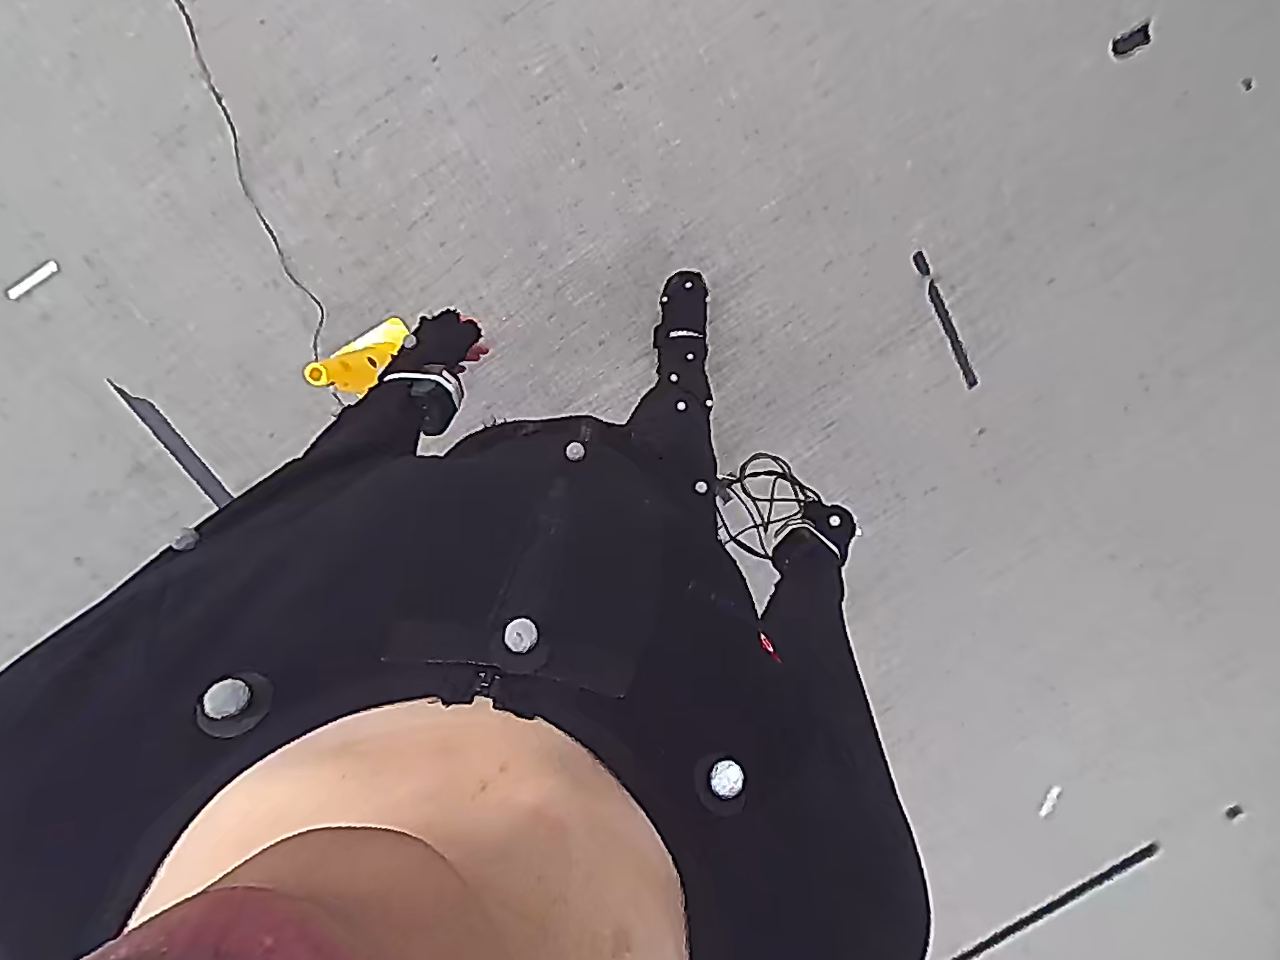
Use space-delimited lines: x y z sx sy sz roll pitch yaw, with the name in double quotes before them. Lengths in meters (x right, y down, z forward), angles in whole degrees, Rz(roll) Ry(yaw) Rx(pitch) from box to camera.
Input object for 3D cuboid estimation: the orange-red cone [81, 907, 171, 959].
"orange-red cone" -1.543 1.436 1.474 0.198 0.360 0.199 -37 104 5
